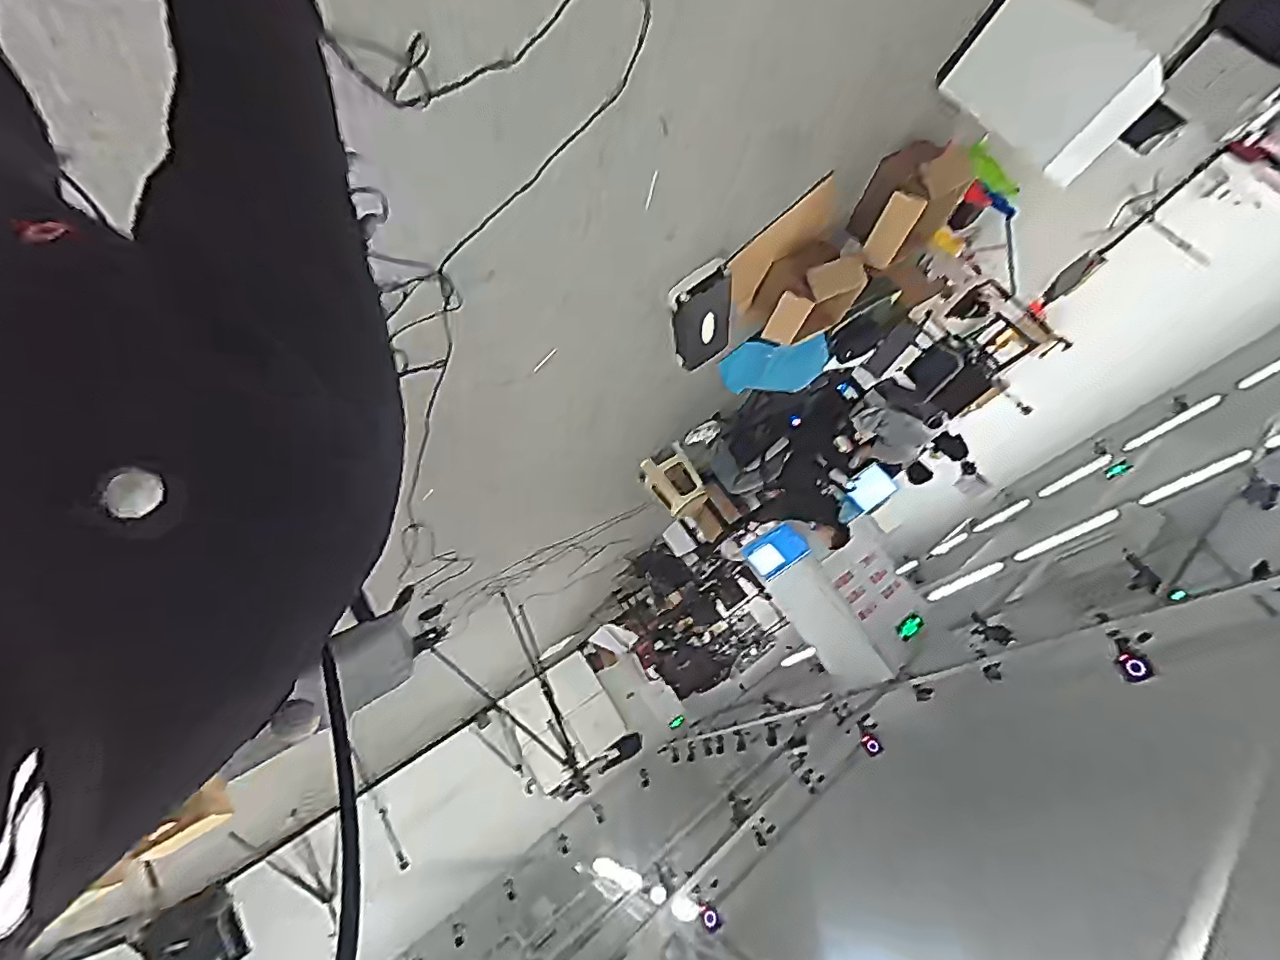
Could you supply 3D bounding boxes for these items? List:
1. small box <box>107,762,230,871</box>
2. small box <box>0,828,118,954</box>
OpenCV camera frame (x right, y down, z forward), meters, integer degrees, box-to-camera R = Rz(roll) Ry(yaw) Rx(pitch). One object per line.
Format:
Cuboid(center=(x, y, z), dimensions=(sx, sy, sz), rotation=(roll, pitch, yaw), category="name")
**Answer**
Cuboid(center=(-1.193, 0.845, 1.375), dimensions=(0.168, 0.176, 0.179), rotation=(-27, 161, -28), category="small box")
Cuboid(center=(-1.392, 0.951, 1.263), dimensions=(0.168, 0.176, 0.179), rotation=(-27, 162, -26), category="small box")
